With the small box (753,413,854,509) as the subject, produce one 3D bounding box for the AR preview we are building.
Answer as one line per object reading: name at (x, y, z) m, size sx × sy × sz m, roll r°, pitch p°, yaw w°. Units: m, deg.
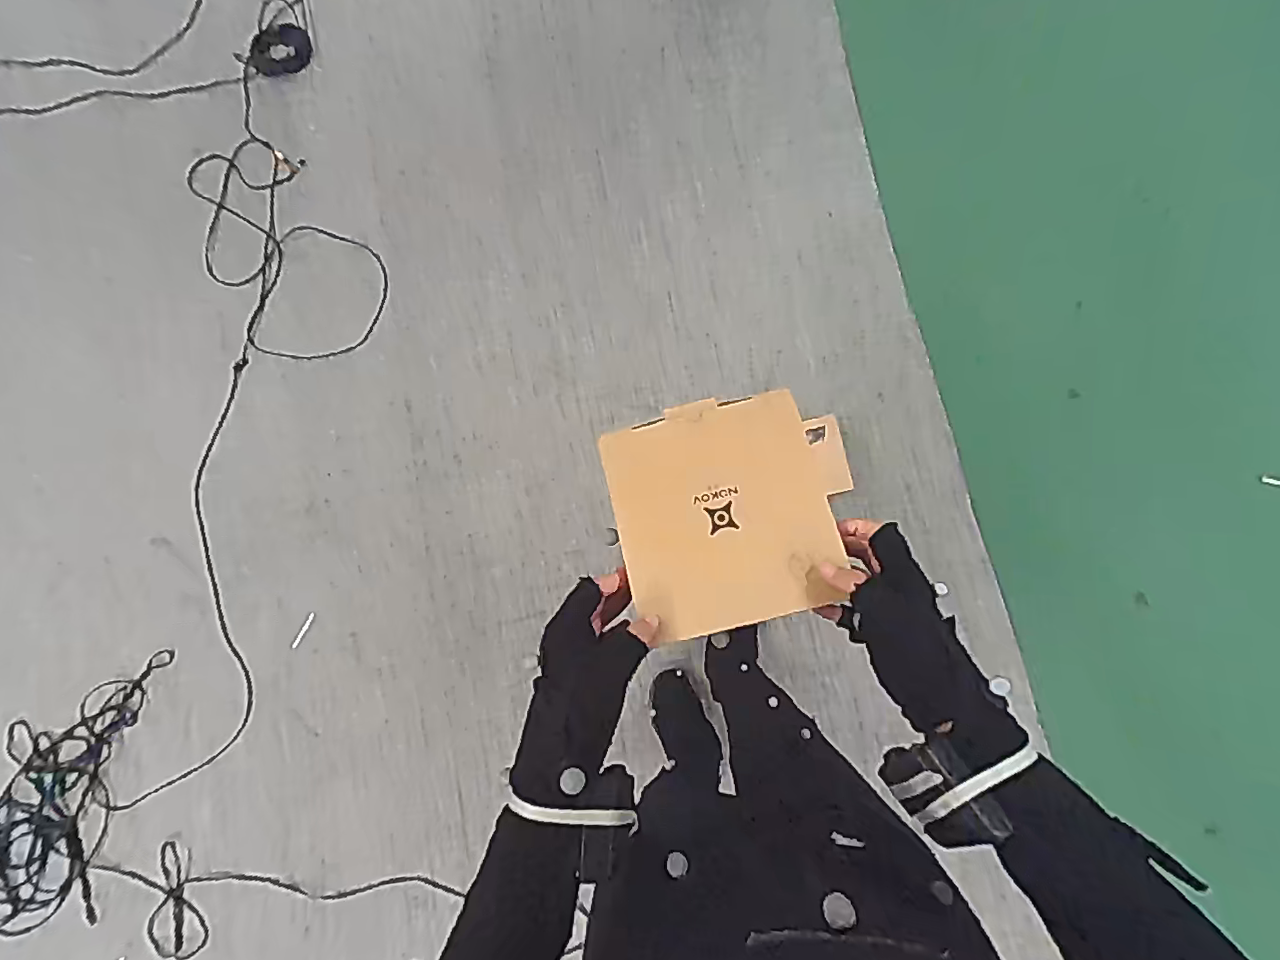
small box at (0.369, -0.039, 1.255) m, size 0.168 × 0.176 × 0.179 m, roll -12°, pitch 82°, yaw 1°
